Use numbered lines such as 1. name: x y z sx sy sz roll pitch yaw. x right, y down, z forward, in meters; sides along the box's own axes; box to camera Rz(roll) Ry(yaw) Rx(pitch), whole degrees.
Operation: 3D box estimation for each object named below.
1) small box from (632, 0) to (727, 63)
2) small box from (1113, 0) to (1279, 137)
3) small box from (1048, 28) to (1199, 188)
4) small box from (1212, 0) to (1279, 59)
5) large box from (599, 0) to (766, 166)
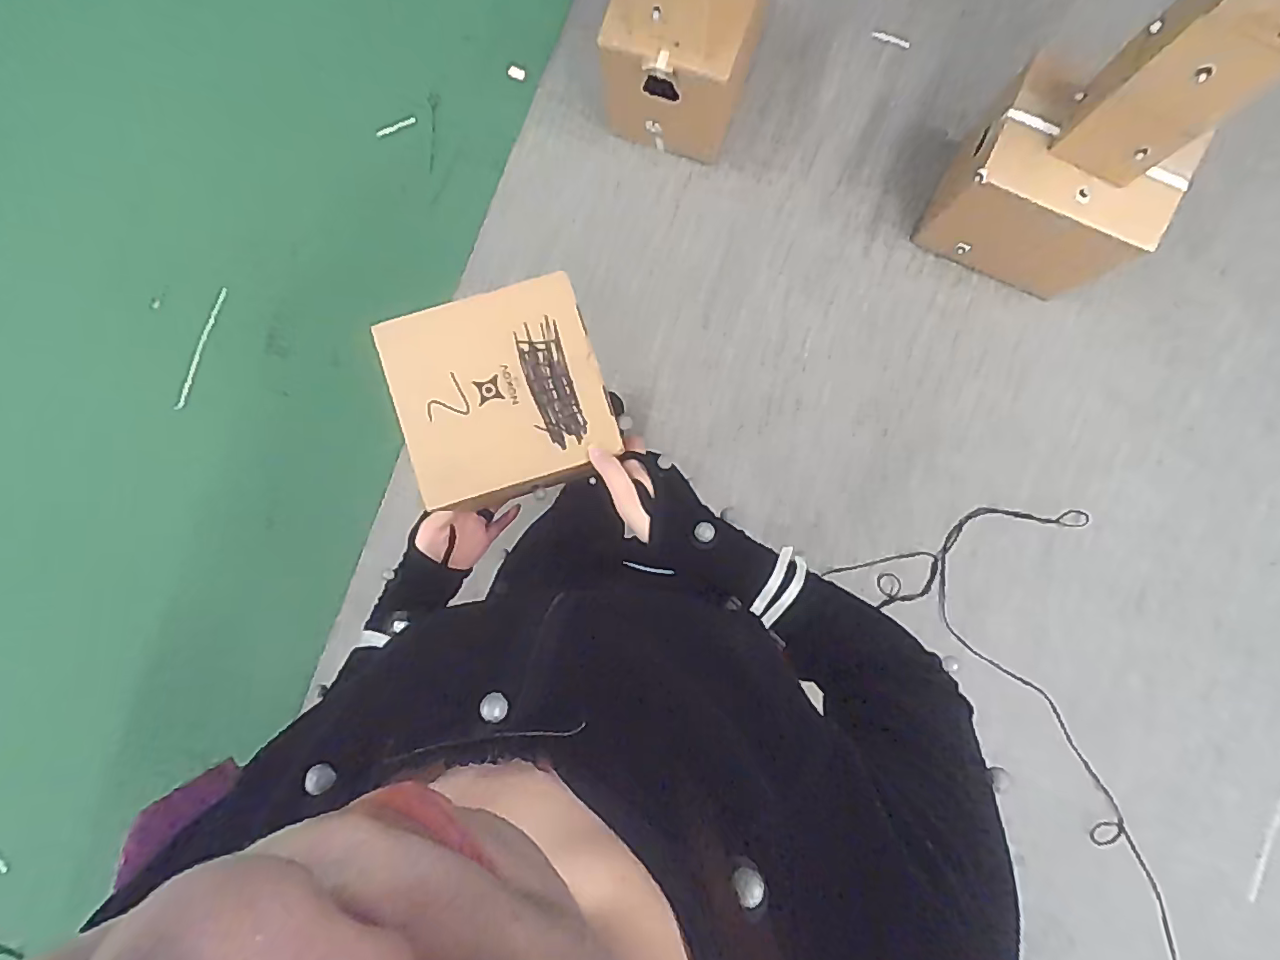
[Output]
1. small box: 0.089 -1.020 1.115 0.168 0.176 0.179 22 89 3
2. small box: 0.974 -0.724 0.909 0.179 0.176 0.168 31 88 3
3. small box: 0.978 -0.721 1.073 0.179 0.176 0.168 29 88 3
4. small box: 0.969 -0.736 0.745 0.168 0.176 0.179 30 88 2
5. large box: 0.118 -1.100 1.360 0.320 0.320 0.408 19 89 3
